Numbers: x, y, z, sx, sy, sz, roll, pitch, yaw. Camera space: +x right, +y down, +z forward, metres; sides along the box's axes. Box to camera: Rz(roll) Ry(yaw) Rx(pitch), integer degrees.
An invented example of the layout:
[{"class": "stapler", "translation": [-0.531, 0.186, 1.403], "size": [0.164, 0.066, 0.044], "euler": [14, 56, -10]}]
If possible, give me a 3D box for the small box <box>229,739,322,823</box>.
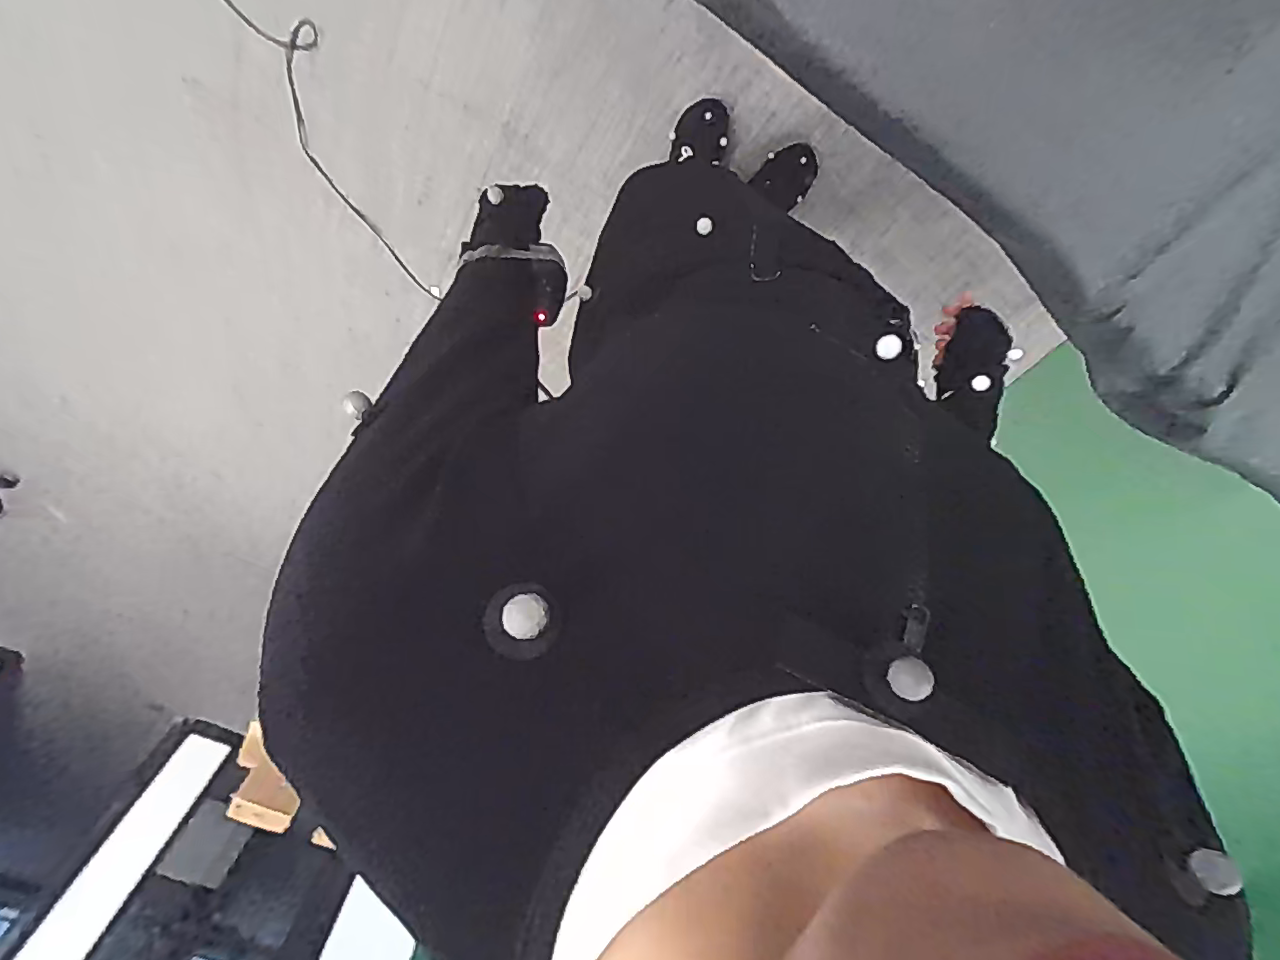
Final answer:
[{"class": "small box", "translation": [-1.162, 0.962, 1.734], "size": [0.179, 0.176, 0.168], "euler": [31, 122, -16]}]
